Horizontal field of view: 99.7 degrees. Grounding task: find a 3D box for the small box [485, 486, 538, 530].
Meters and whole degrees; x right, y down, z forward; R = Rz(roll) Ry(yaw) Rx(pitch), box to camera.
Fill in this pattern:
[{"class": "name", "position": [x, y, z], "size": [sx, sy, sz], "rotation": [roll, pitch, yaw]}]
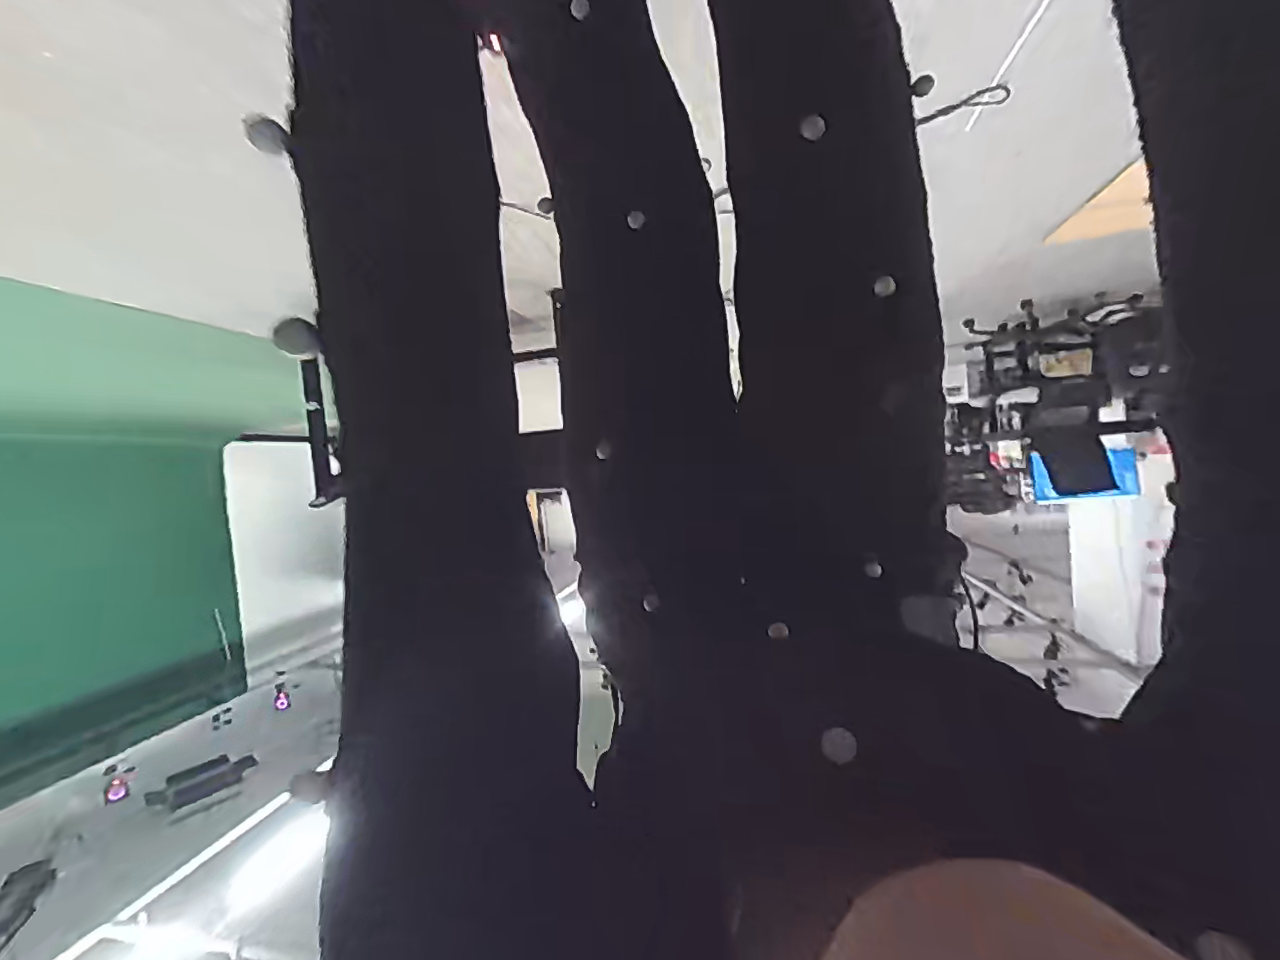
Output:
[{"class": "small box", "position": [-0.562, 0.120, 2.362], "size": [0.168, 0.176, 0.179], "rotation": [-5, -177, 11]}]
